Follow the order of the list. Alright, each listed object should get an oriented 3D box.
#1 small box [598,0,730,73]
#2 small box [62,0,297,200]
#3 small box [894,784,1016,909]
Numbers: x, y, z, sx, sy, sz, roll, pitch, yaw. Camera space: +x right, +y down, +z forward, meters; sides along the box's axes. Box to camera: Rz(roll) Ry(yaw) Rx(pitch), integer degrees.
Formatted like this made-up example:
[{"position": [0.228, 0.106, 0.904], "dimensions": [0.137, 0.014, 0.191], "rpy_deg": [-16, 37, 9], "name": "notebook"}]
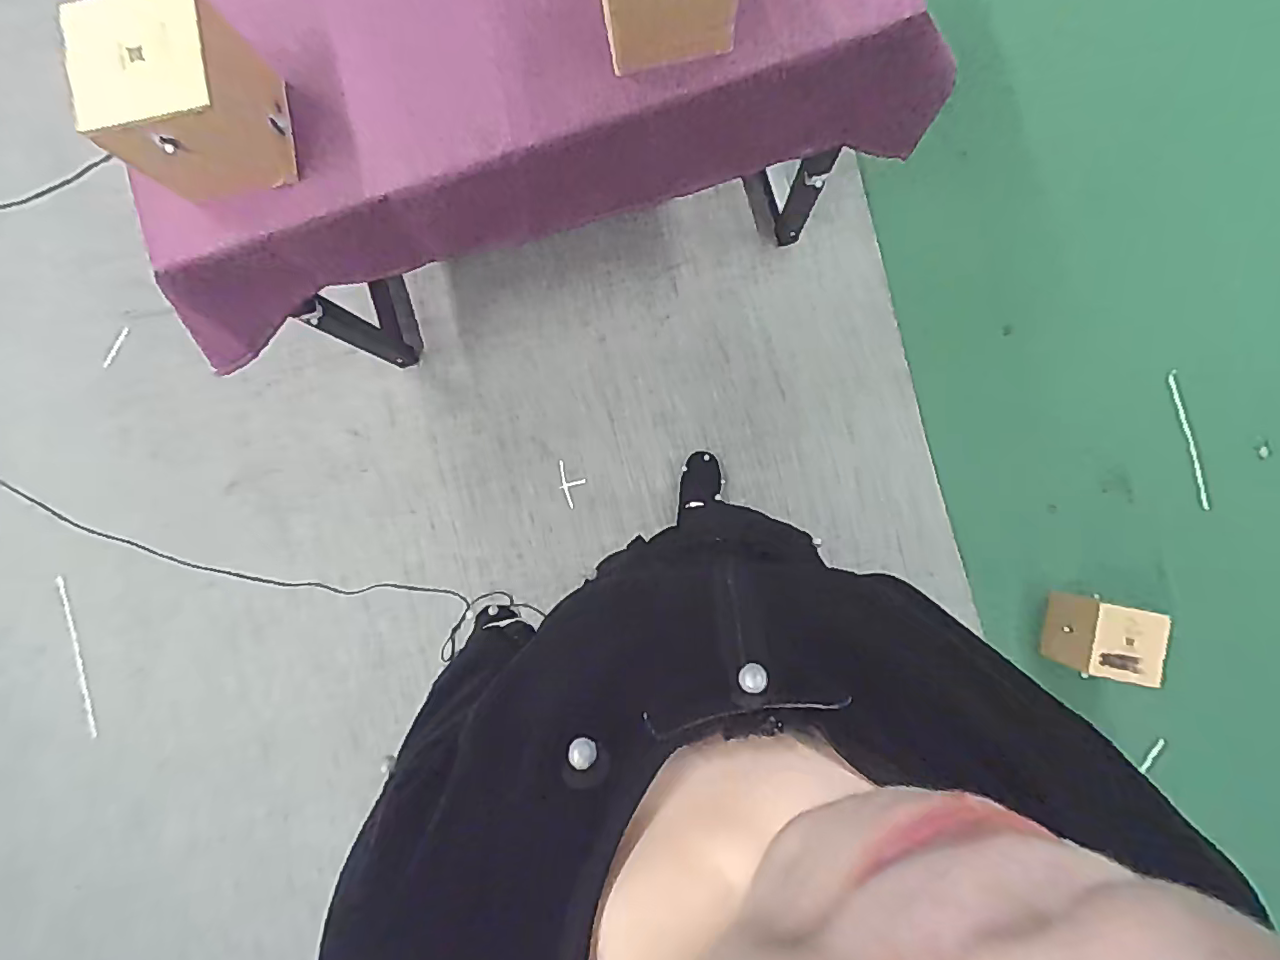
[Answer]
[{"position": [0.025, -0.686, 0.715], "dimensions": [0.179, 0.176, 0.168], "rpy_deg": [-10, 88, 3], "name": "small box"}, {"position": [-0.618, -0.515, 0.744], "dimensions": [0.179, 0.176, 0.168], "rpy_deg": [-9, 88, 2], "name": "small box"}, {"position": [0.778, 0.903, 1.357], "dimensions": [0.168, 0.176, 0.179], "rpy_deg": [-32, 87, 2], "name": "small box"}]
